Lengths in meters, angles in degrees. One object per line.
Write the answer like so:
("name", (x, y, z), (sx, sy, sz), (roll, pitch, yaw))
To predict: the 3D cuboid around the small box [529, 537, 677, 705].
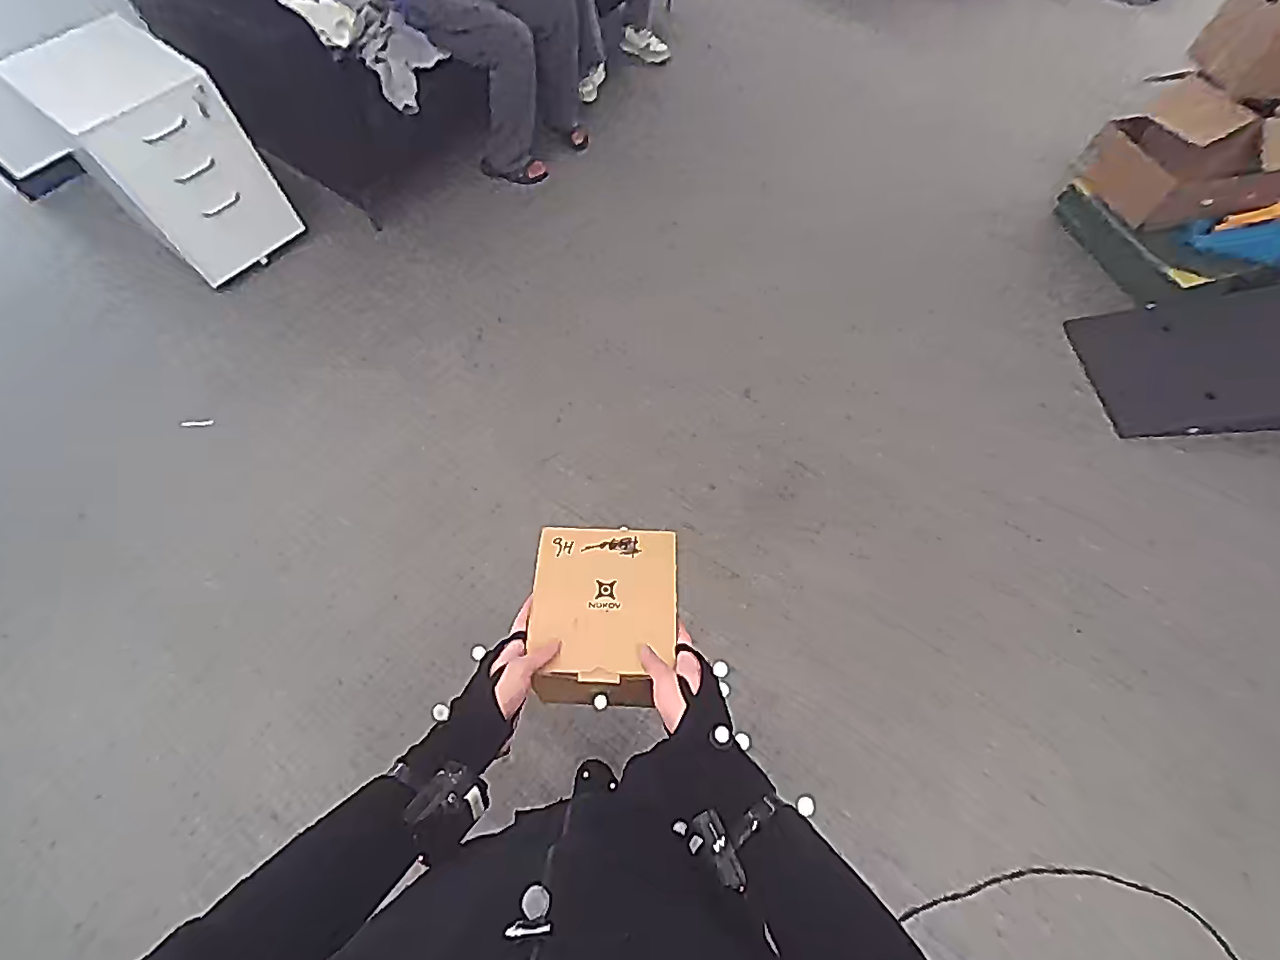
("small box", (-0.041, 0.187, 0.695), (0.168, 0.176, 0.179), (-1, 58, -2))
